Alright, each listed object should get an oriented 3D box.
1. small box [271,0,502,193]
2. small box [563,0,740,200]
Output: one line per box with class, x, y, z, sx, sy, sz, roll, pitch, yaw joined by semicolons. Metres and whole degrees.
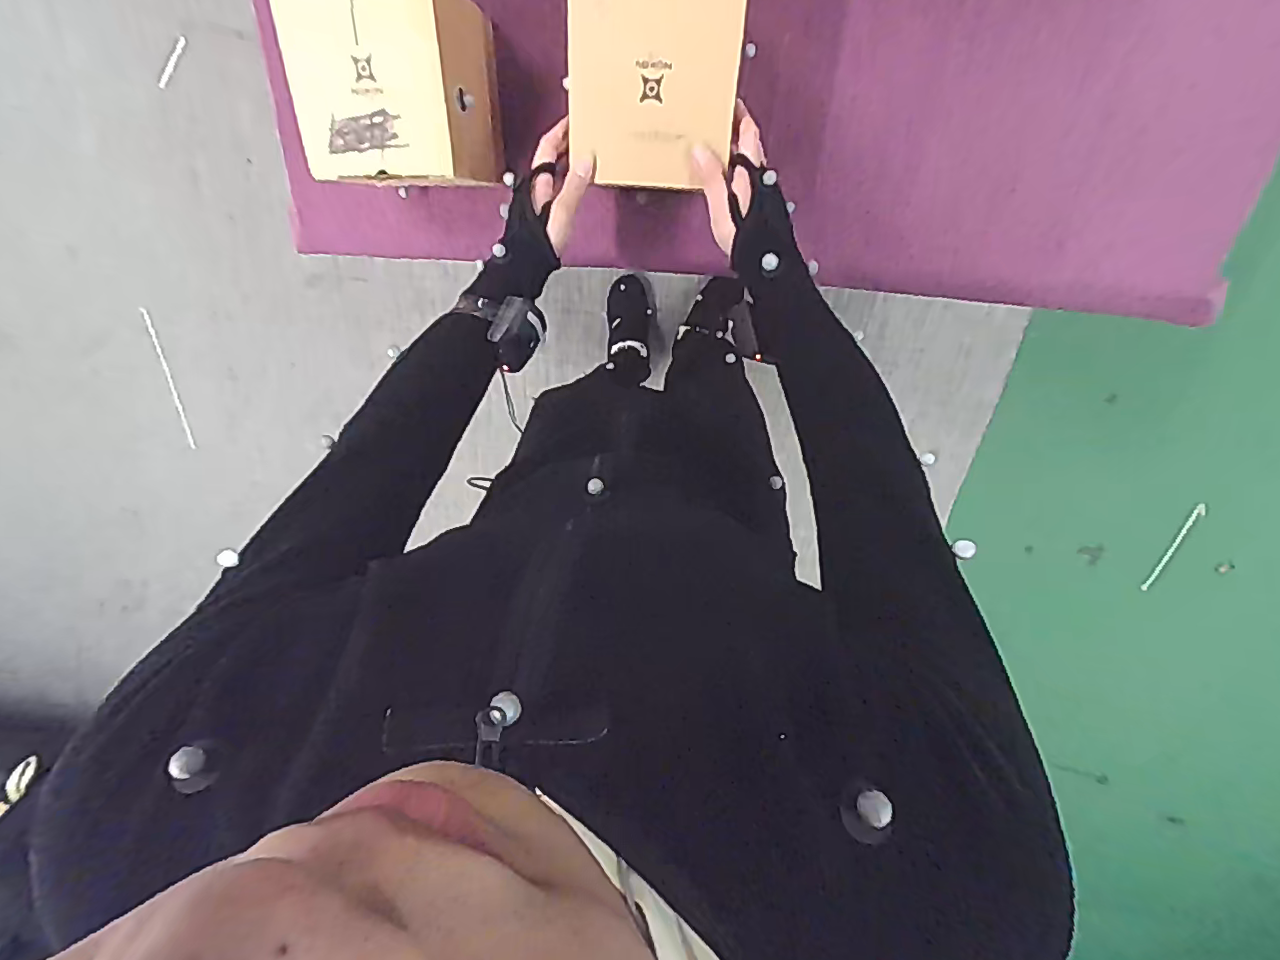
small box;-0.271;-0.433;0.624;0.168;0.176;0.179;3;115;6
small box;0.014;-0.413;0.597;0.168;0.176;0.179;6;118;5
